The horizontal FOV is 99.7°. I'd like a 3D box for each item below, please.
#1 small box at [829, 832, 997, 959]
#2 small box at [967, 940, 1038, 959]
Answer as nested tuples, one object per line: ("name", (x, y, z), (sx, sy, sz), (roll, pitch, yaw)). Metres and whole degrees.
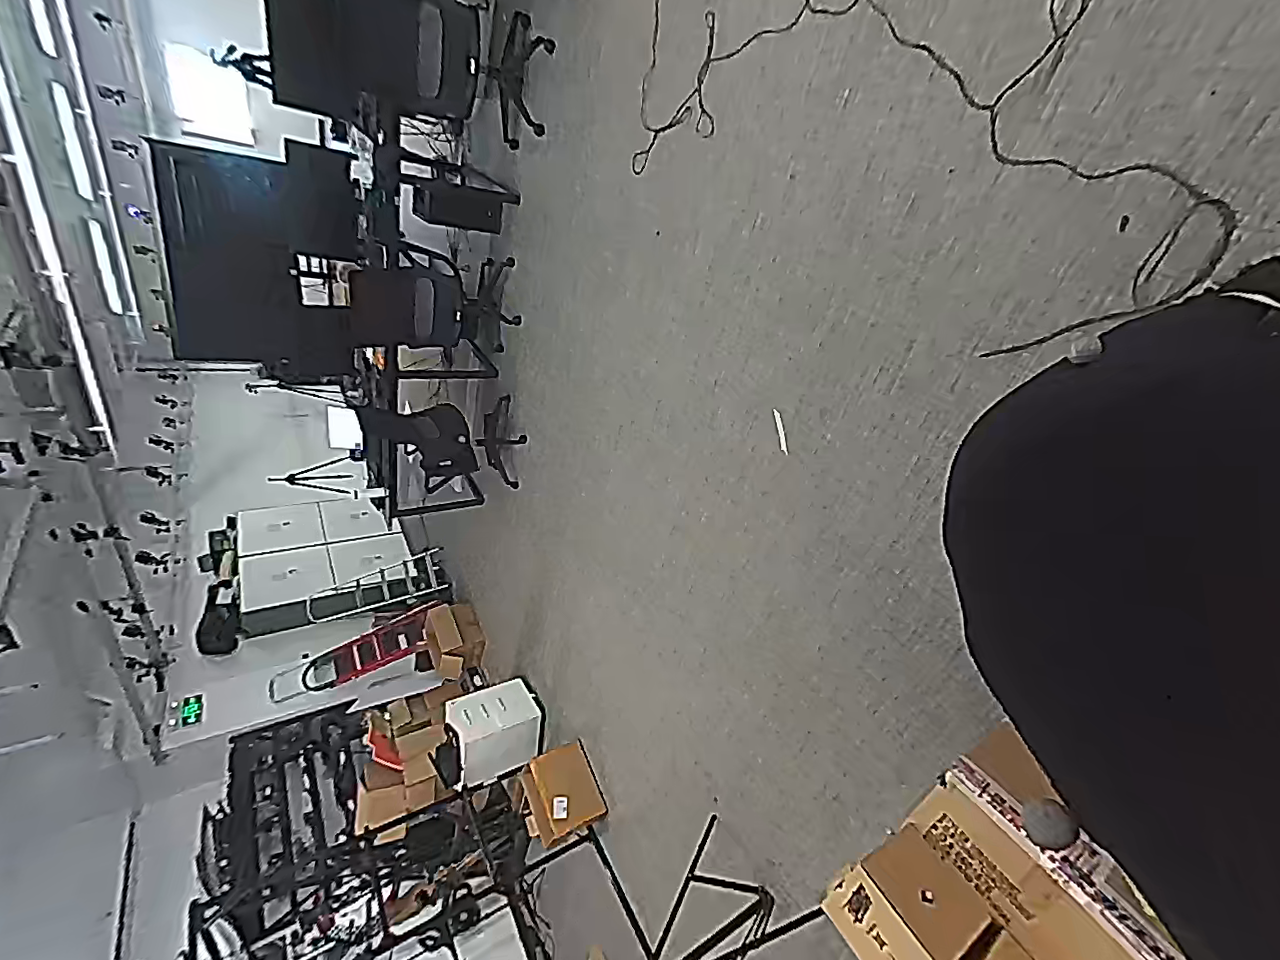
("small box", (0.491, 0.779, 0.981), (0.179, 0.176, 0.168), (48, 132, 42))
("small box", (0.589, 0.880, 0.852), (0.179, 0.176, 0.168), (46, 131, 39))
